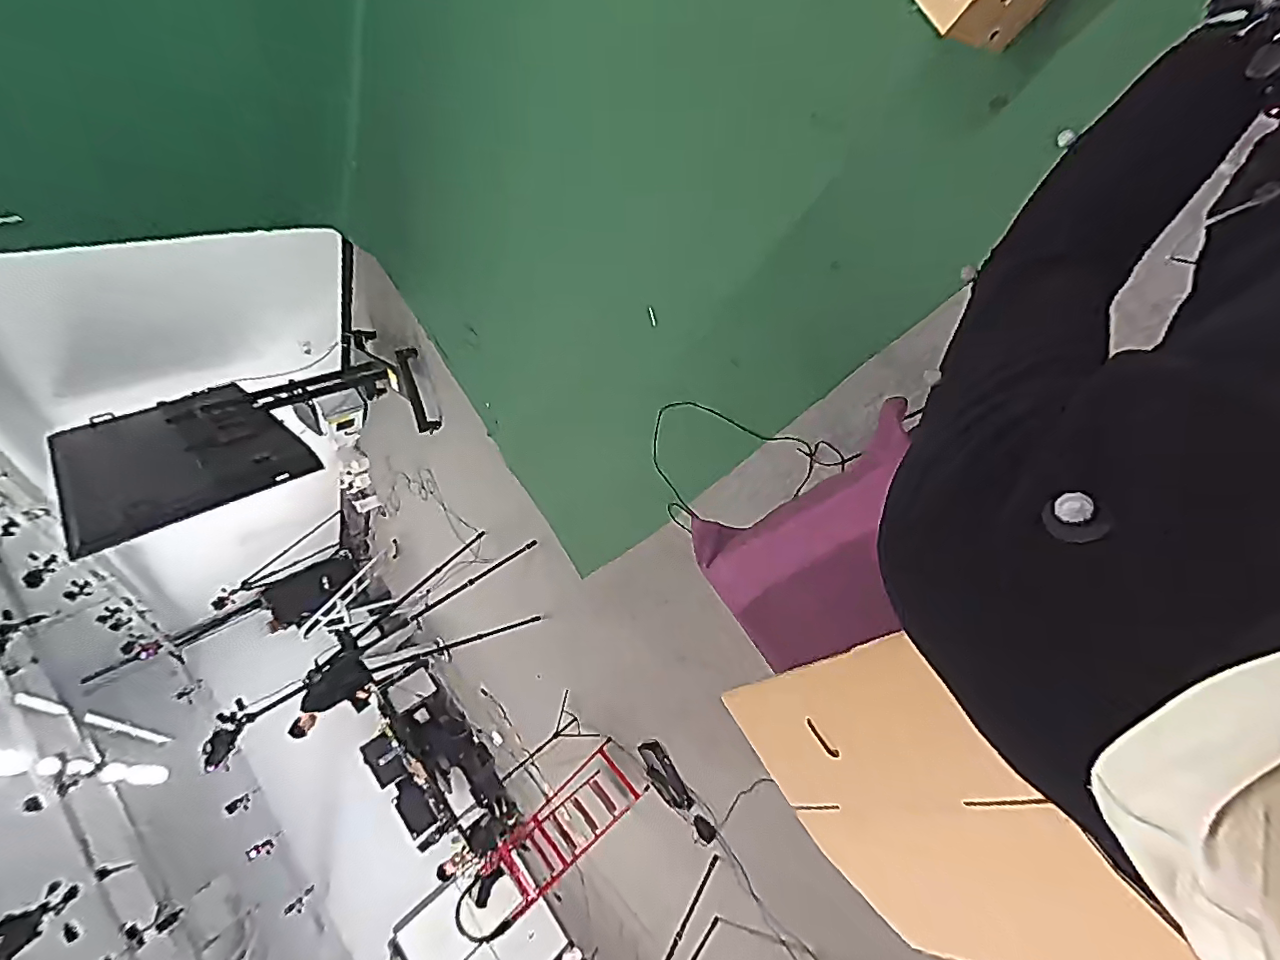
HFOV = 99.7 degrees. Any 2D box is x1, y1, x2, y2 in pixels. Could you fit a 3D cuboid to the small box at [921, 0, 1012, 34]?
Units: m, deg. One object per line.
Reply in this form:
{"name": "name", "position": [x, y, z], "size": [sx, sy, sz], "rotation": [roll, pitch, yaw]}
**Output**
{"name": "small box", "position": [0.603, -0.951, 0.975], "size": [0.179, 0.176, 0.168], "rotation": [57, 143, 6]}
